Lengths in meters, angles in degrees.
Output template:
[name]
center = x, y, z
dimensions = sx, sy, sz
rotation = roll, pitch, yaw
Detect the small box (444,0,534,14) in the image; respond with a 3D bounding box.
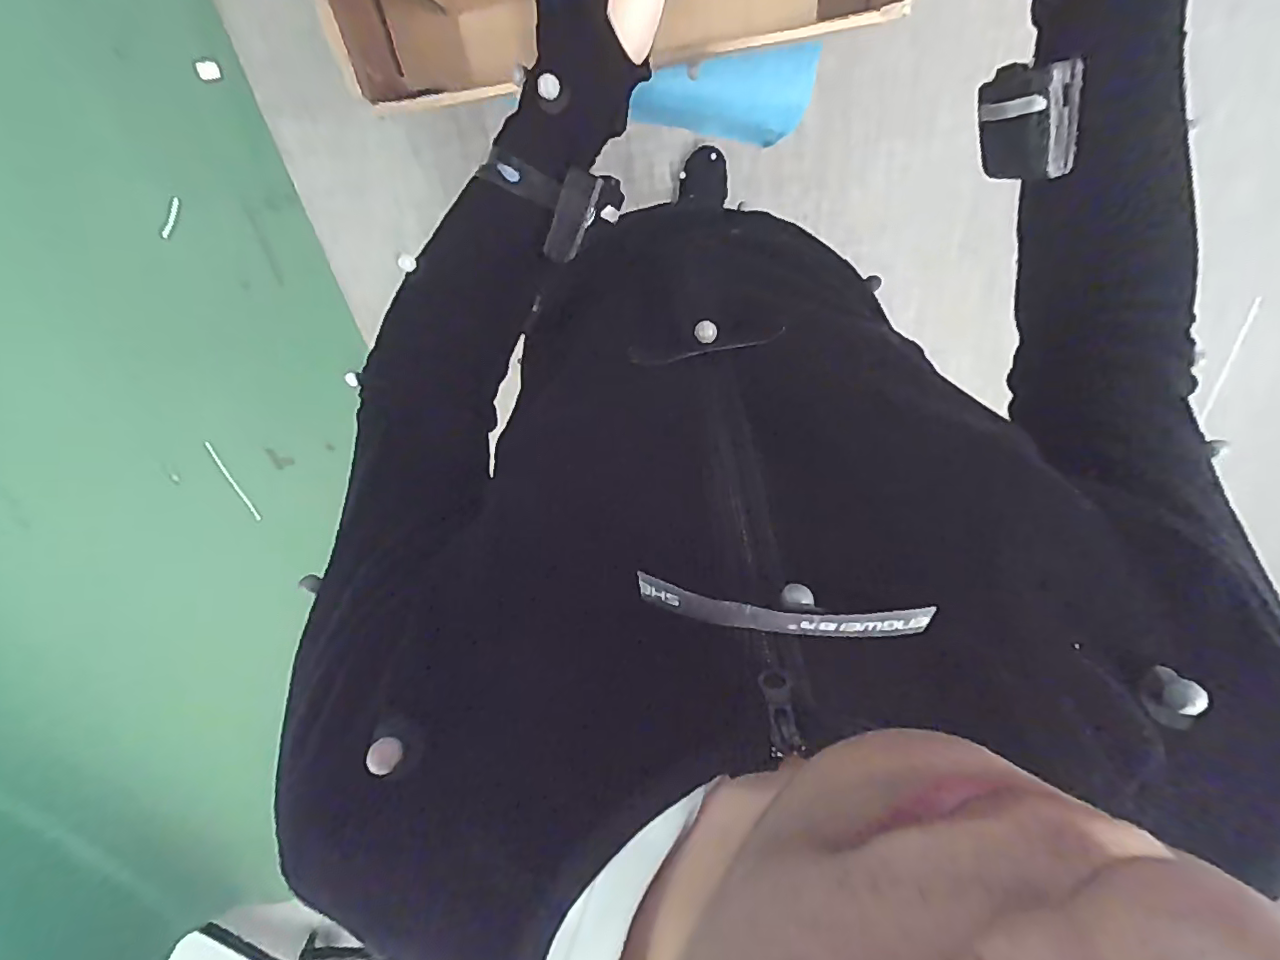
[small box]
center = -0.154, -0.607, 0.549
dimensions = 0.179, 0.176, 0.168
rotation = -9, 122, 3
